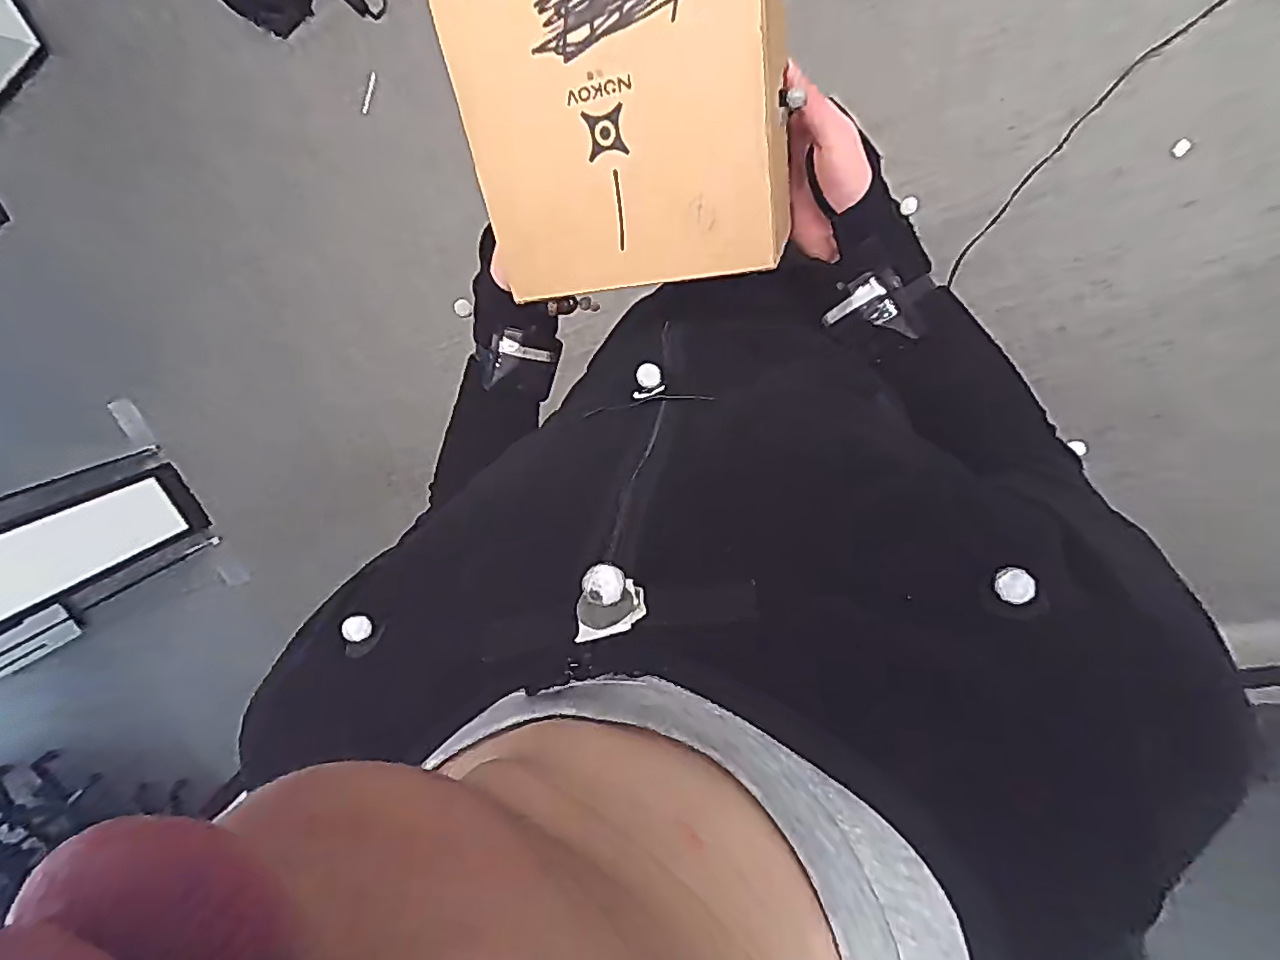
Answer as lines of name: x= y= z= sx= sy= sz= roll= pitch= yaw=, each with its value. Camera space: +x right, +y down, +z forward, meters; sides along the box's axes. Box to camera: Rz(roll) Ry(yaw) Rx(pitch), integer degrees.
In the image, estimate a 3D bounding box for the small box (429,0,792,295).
small box: x=0.004 y=-0.231 z=0.339 sx=0.168 sy=0.176 sz=0.179 roll=0 pitch=122 yaw=20
